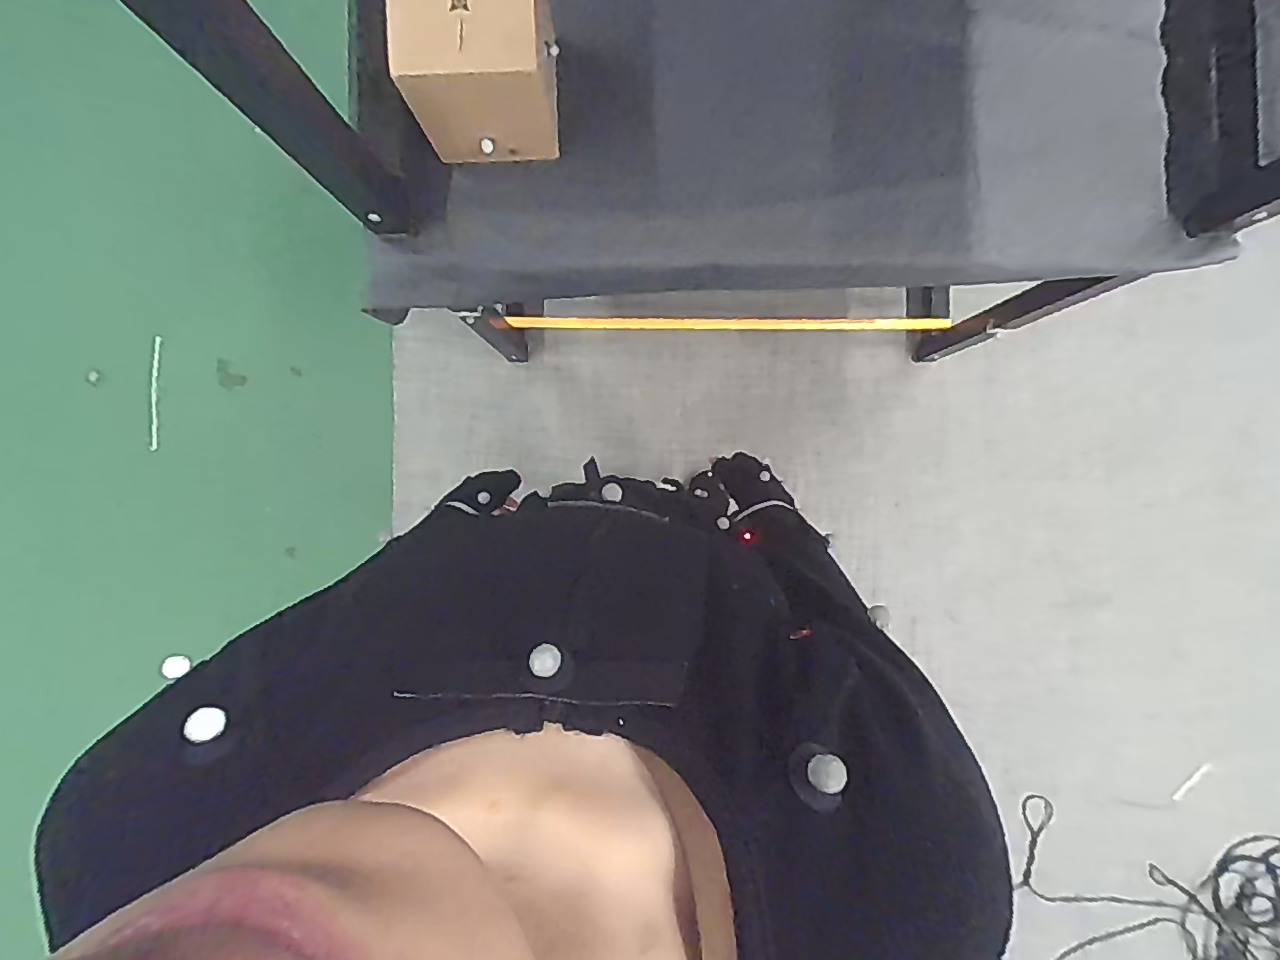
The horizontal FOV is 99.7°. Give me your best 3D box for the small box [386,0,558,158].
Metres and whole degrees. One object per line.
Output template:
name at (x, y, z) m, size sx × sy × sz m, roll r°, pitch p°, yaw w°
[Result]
small box at (-0.196, -0.535, 0.671) m, size 0.168 × 0.176 × 0.179 m, roll -2°, pitch 90°, yaw 0°
